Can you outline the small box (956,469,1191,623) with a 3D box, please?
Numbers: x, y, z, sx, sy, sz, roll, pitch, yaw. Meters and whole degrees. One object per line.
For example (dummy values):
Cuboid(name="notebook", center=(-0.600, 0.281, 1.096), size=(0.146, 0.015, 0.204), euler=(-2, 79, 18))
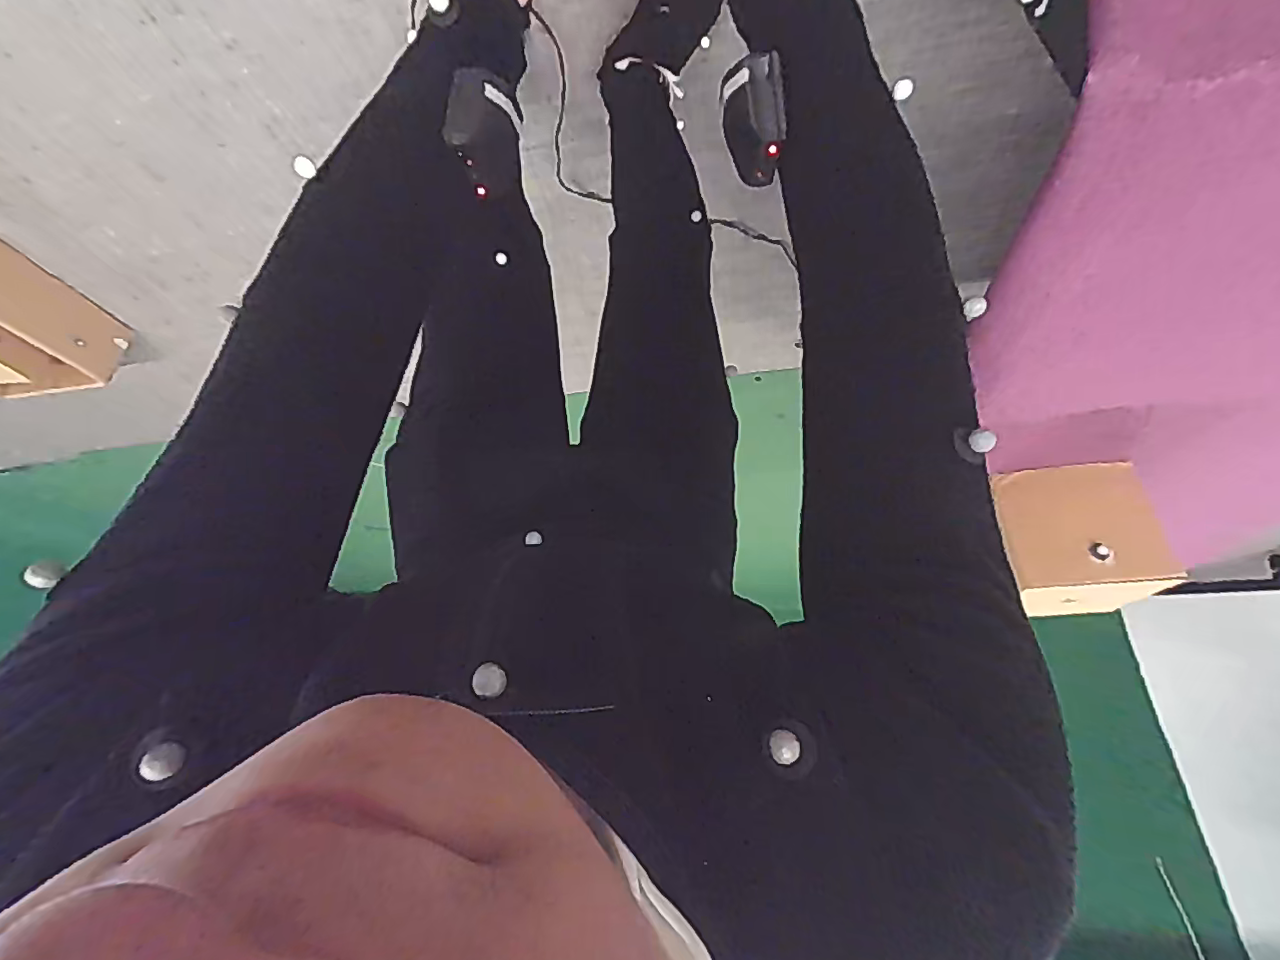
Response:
Cuboid(name="small box", center=(0.575, 0.094, 0.751), size=(0.179, 0.176, 0.168), euler=(-5, 153, 10))
